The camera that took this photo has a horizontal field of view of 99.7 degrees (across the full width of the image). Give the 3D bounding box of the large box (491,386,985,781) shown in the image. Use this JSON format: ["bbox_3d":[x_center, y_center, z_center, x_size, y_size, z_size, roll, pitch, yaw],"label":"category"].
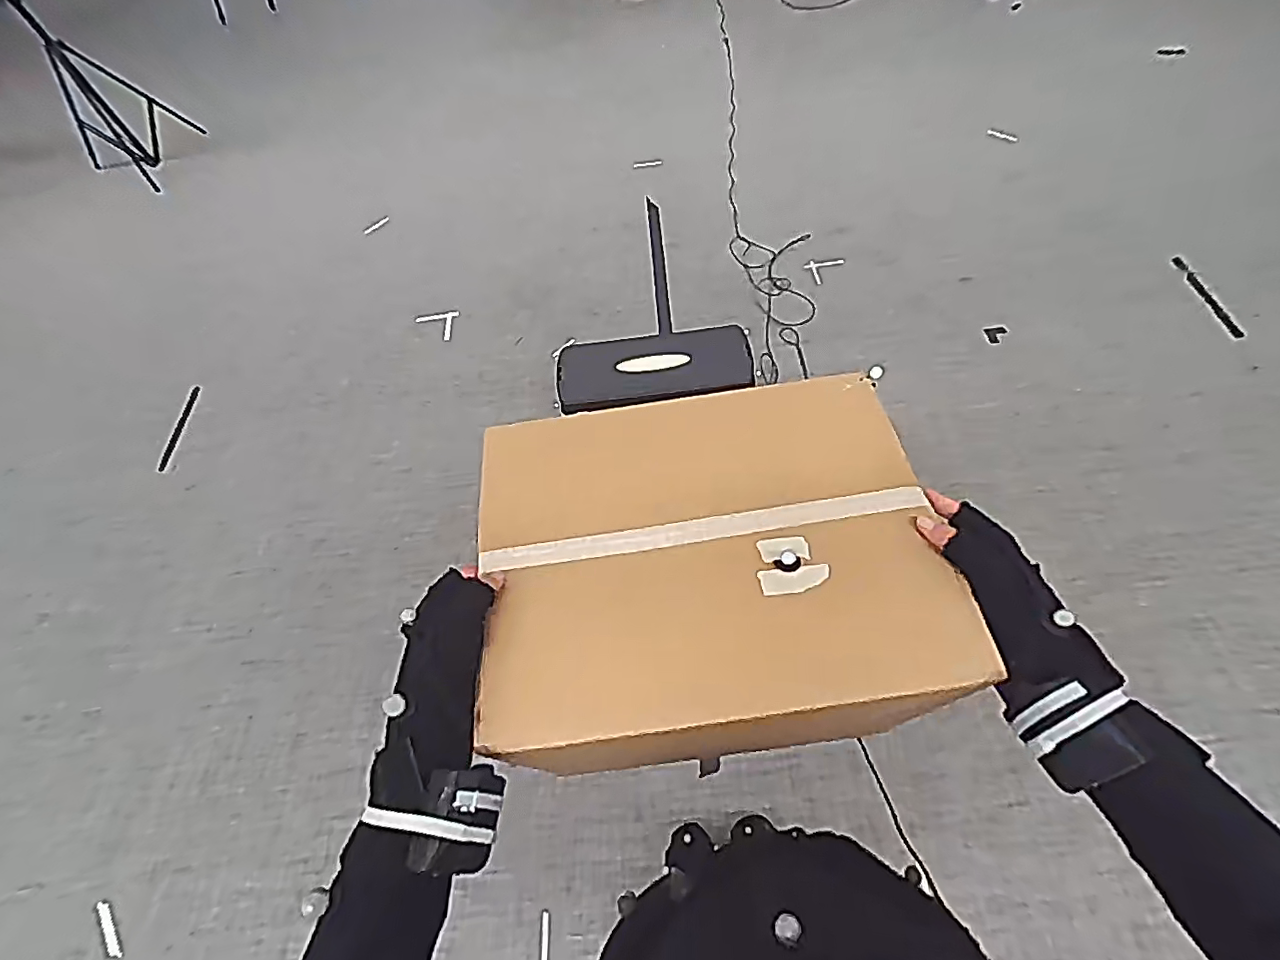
[{"bbox_3d":[0.070,0.136,0.628,0.408,0.320,0.320,-9,58,0],"label":"large box"}]
